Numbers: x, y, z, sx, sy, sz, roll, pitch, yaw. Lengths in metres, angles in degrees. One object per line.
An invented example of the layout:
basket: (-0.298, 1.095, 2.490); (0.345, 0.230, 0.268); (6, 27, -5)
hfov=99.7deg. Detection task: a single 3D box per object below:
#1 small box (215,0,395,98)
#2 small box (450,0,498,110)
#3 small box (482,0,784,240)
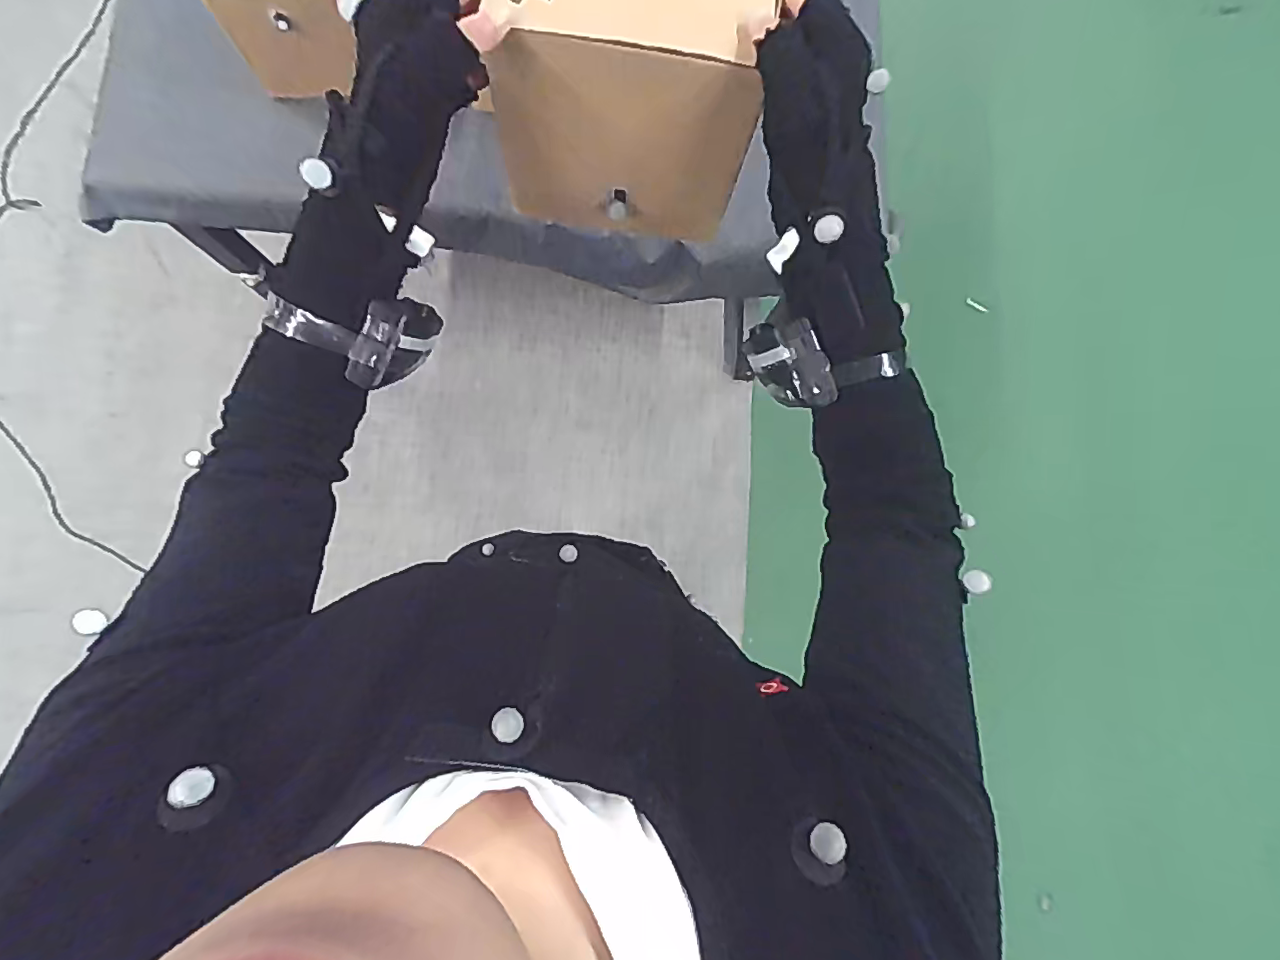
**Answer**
small box: (-0.472, -0.682, 0.769); (0.179, 0.176, 0.168); (-6, 84, -6)
small box: (-0.156, -0.663, 0.787); (0.179, 0.176, 0.168); (5, 81, -4)
small box: (-0.004, -0.309, 0.406); (0.179, 0.176, 0.168); (7, 77, -4)
